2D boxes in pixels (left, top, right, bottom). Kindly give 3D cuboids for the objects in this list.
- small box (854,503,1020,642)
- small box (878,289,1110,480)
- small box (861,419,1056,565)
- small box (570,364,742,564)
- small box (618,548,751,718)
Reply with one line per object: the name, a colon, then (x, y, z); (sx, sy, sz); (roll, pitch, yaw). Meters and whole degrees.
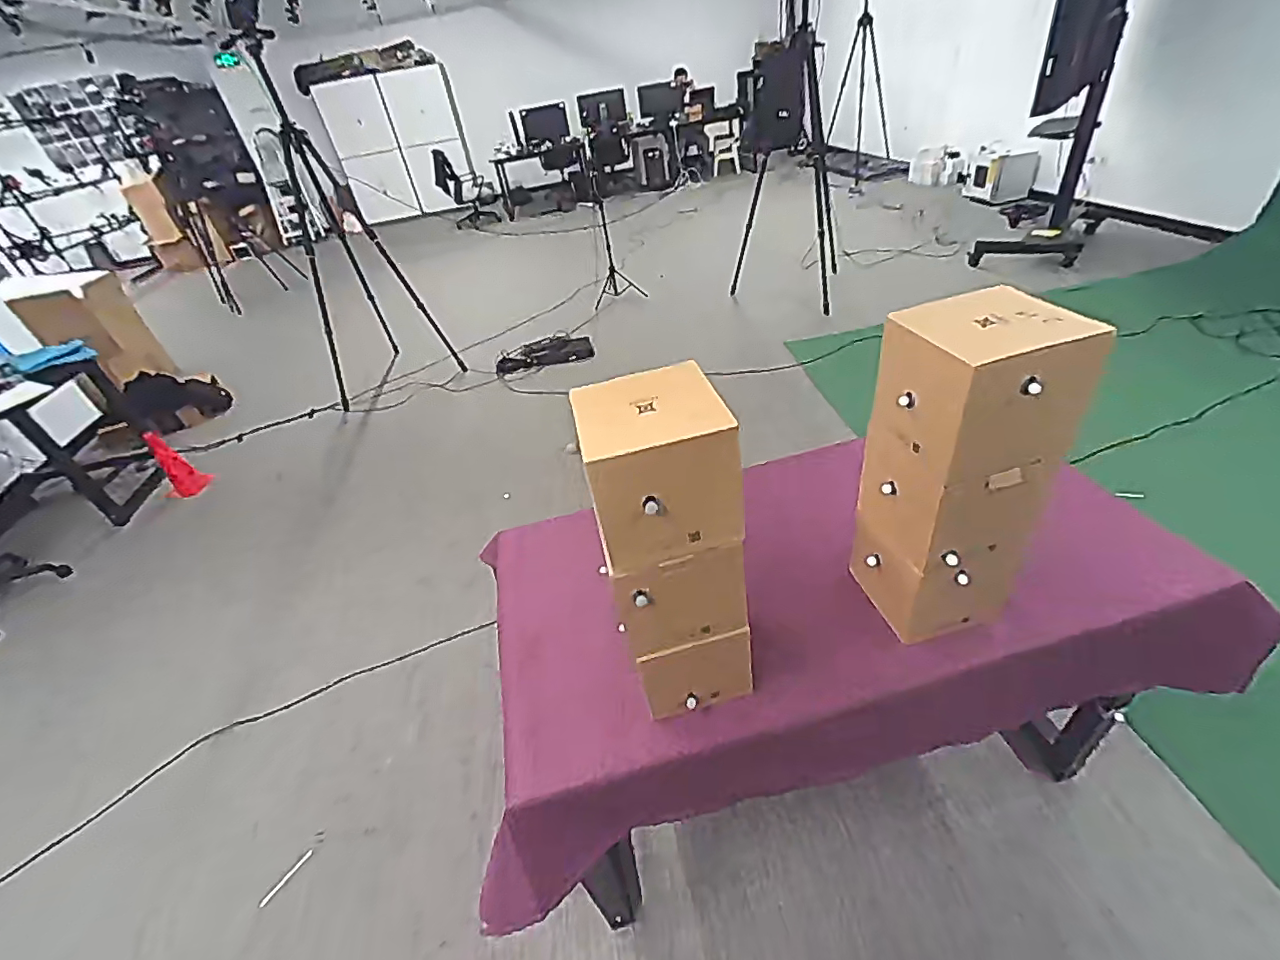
small box: (0.473, 0.133, 0.897); (0.168, 0.176, 0.179); (-16, 37, -4)
small box: (0.427, -0.121, 0.693); (0.179, 0.176, 0.168); (-14, 39, -5)
small box: (0.449, 0.005, 0.798); (0.168, 0.176, 0.179); (-15, 37, -5)
small box: (0.019, -0.016, 0.665); (0.168, 0.176, 0.179); (-14, 36, -3)
small box: (0.069, 0.242, 0.860); (0.168, 0.176, 0.179); (-14, 38, -4)
